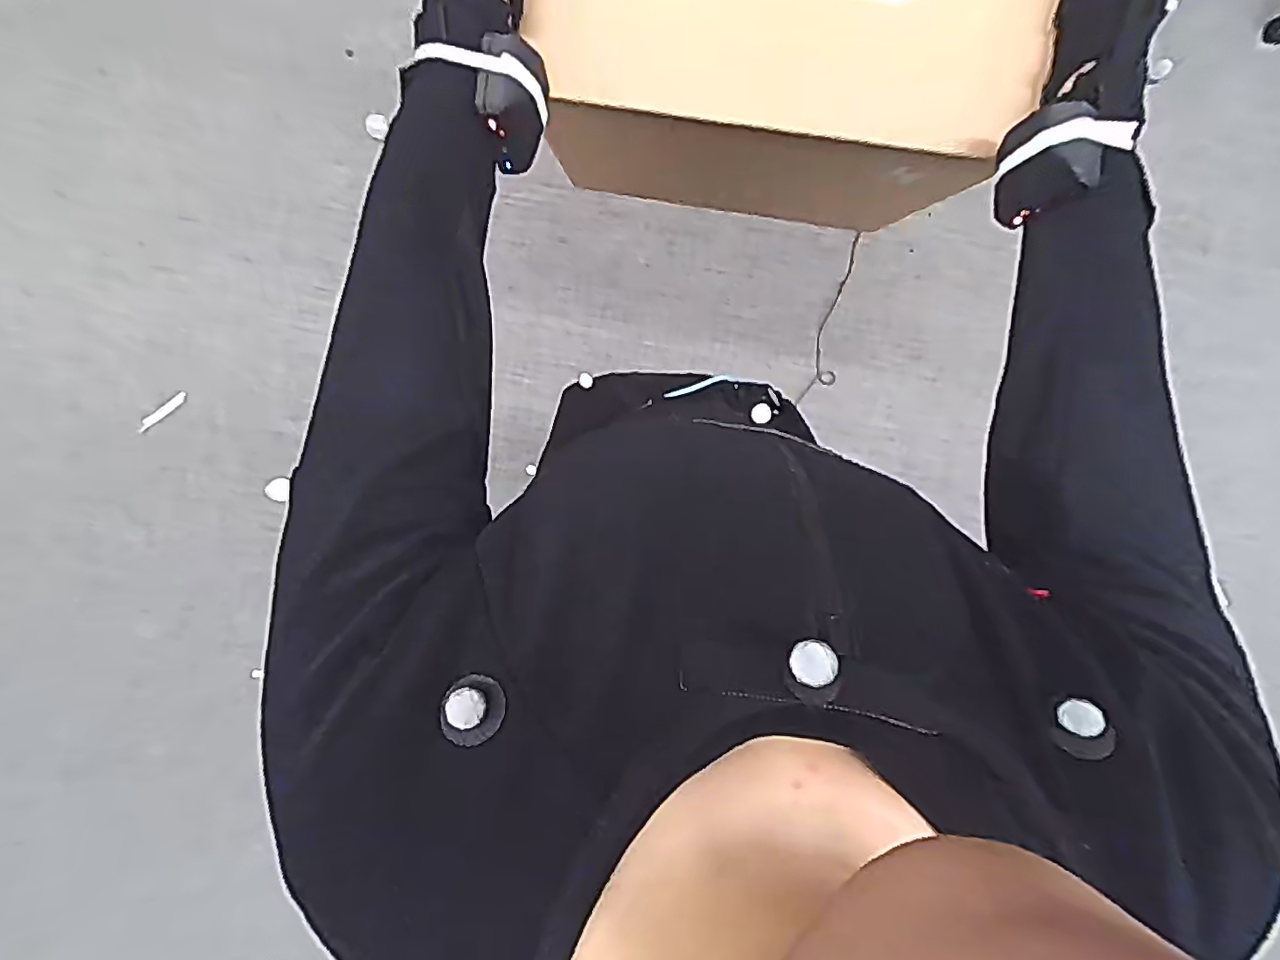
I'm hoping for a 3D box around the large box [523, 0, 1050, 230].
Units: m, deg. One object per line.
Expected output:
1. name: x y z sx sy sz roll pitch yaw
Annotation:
1. large box: 0.120 -0.463 0.539 0.408 0.320 0.320 8 106 -1
